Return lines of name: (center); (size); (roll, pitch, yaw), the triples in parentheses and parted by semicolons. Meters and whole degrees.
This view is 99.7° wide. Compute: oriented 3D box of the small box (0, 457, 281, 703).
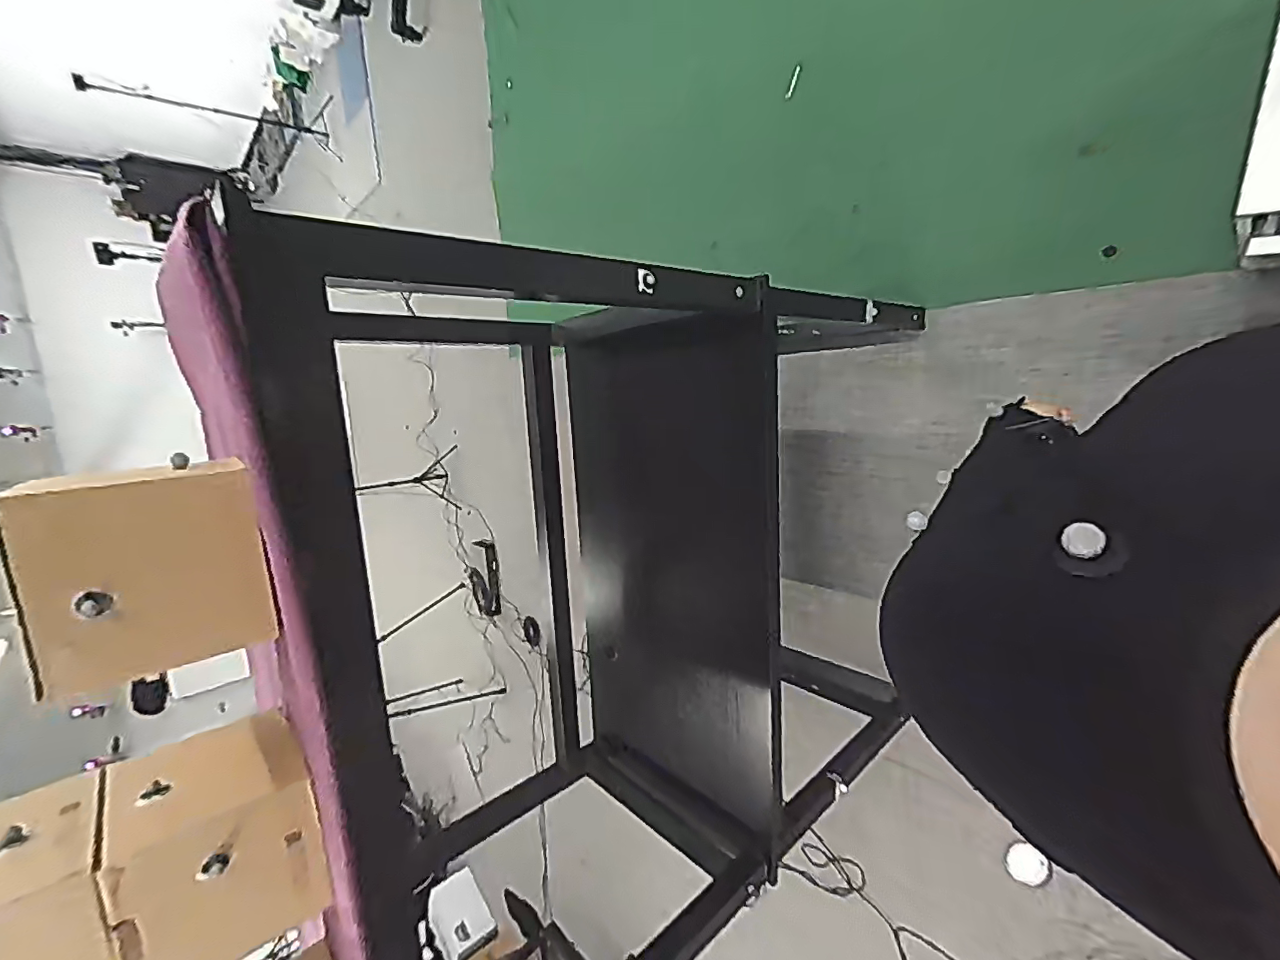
small box: (-0.476, 0.079, 0.538); (0.168, 0.176, 0.179); (7, 105, 50)

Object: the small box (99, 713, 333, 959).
small box: (-0.447, 0.387, 0.587); (0.179, 0.176, 0.168); (10, 106, 48)

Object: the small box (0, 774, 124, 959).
small box: (-0.570, 0.412, 0.480); (0.168, 0.176, 0.179); (10, 106, 46)
